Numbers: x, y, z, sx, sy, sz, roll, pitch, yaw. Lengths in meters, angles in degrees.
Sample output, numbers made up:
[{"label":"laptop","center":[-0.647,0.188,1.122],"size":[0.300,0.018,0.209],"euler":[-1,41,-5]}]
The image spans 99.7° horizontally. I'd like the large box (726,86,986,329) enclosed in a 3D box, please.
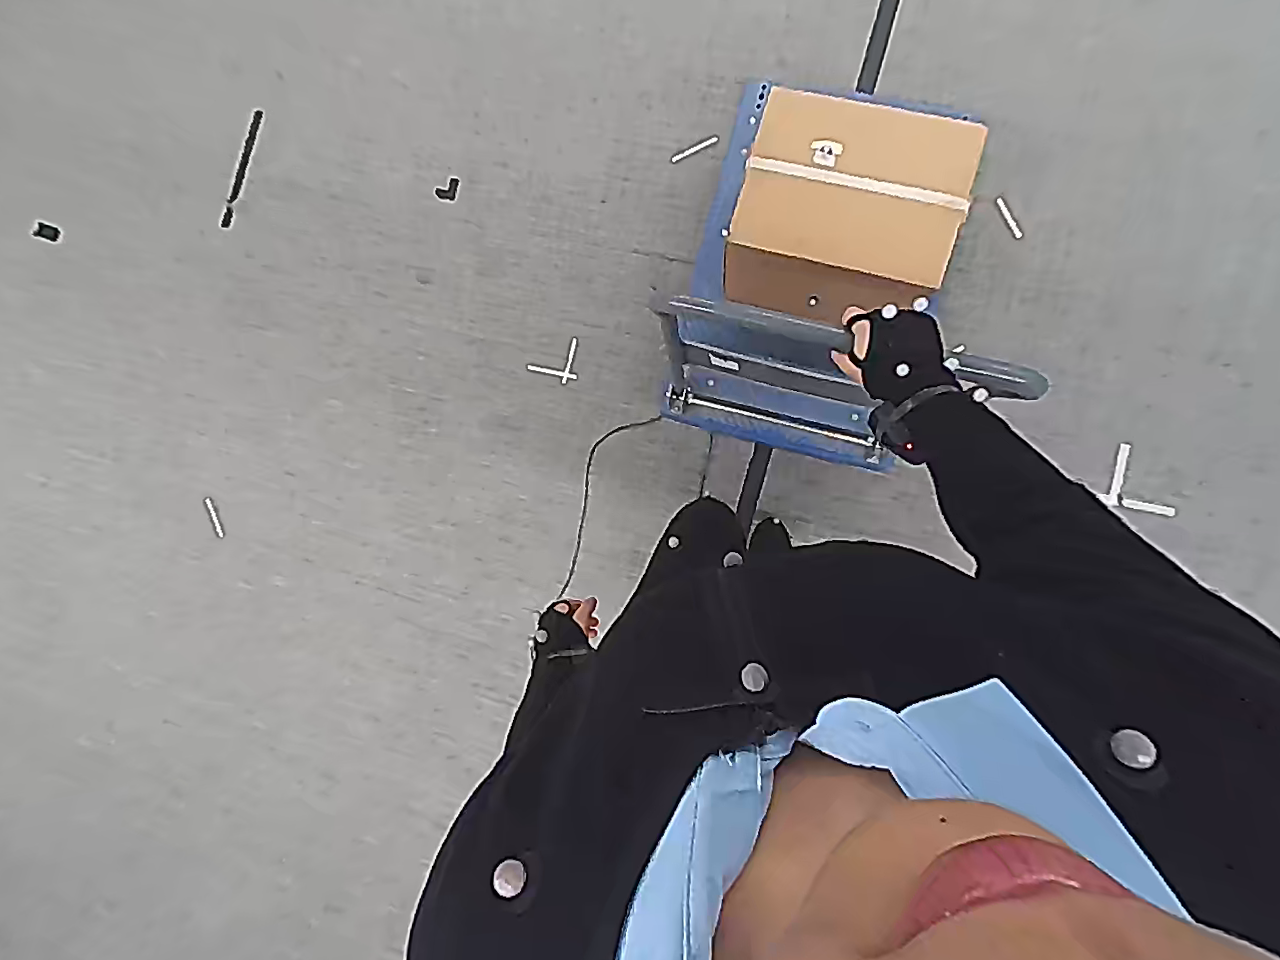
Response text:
[{"label":"large box","center":[0.418,-0.548,1.144],"size":[0.408,0.320,0.320],"euler":[17,90,10]}]
